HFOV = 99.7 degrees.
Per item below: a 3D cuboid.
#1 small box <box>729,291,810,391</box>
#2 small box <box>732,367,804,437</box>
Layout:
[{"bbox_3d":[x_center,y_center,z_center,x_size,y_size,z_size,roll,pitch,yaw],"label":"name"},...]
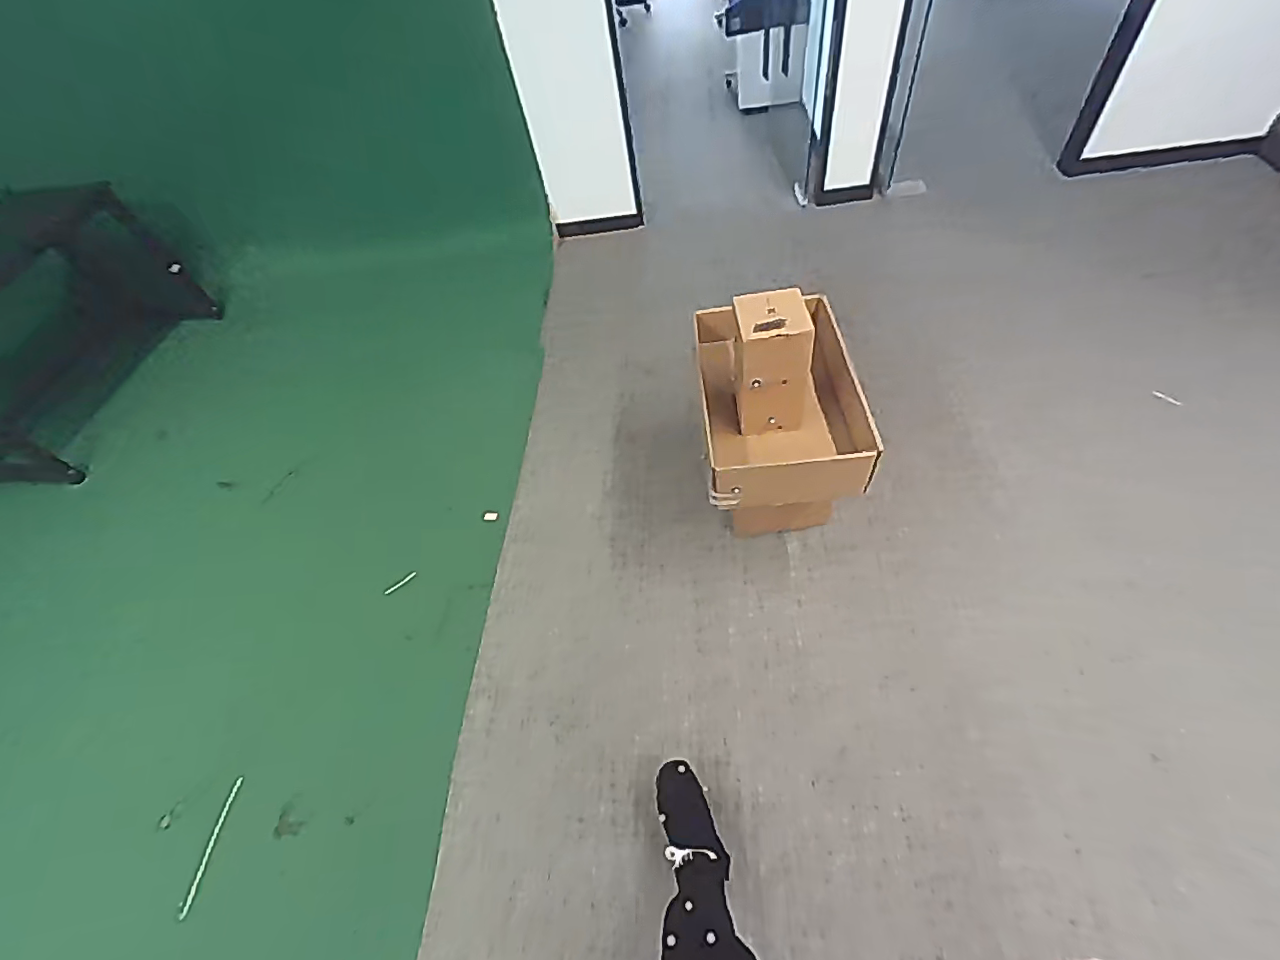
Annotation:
[{"bbox_3d":[0.318,-0.338,1.347,0.168,0.176,0.179,-7,51,5],"label":"small box"},{"bbox_3d":[0.342,-0.240,1.476,0.168,0.176,0.179,-6,52,7],"label":"small box"}]
